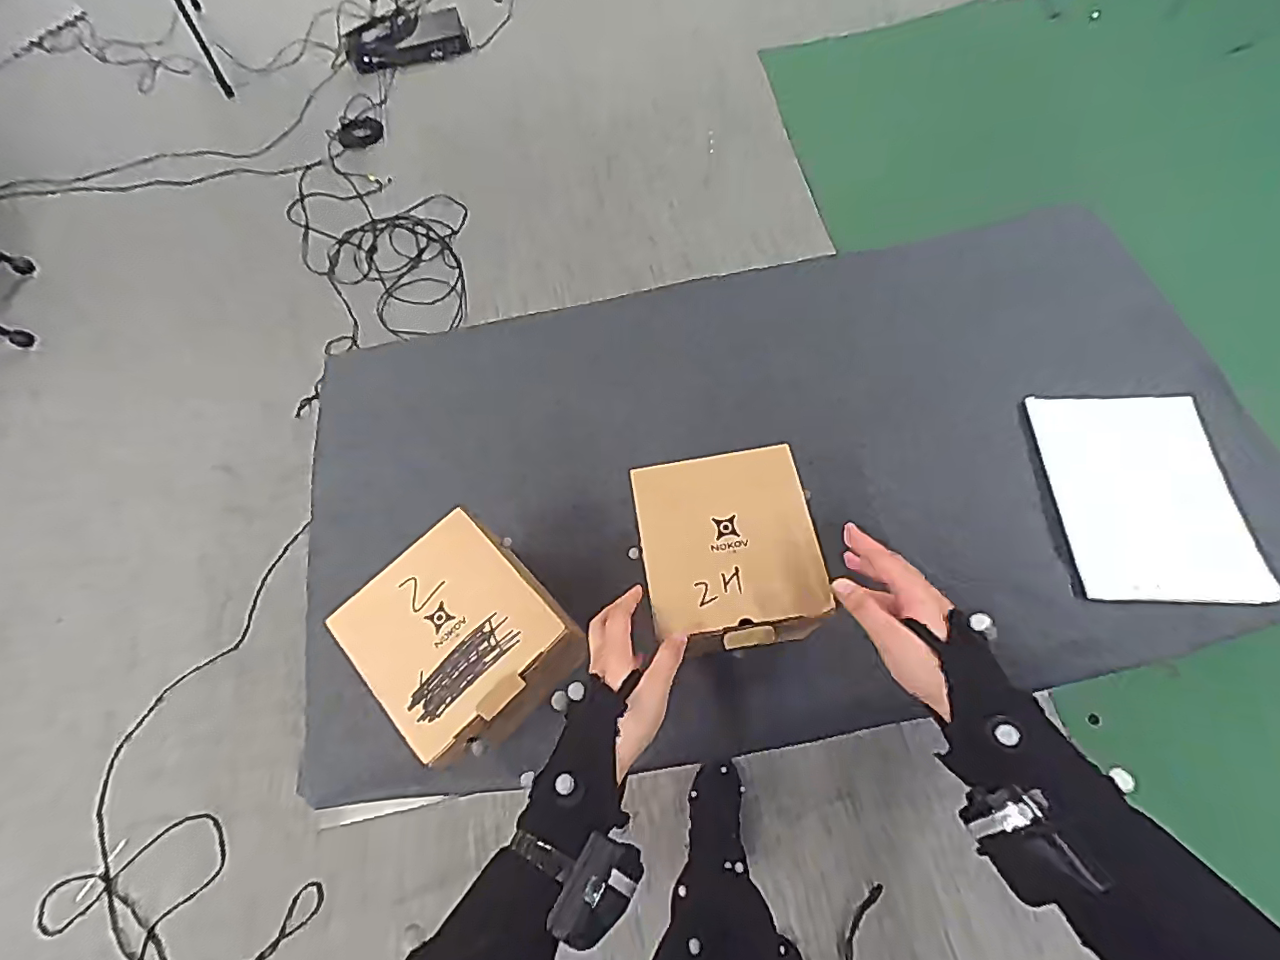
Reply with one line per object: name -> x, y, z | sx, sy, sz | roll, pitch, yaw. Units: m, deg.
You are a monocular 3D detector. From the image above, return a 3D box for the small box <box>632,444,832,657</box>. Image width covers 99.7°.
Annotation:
small box -> 0.089, 0.086, 0.593 | 0.168, 0.176, 0.179 | -10, 66, 2
